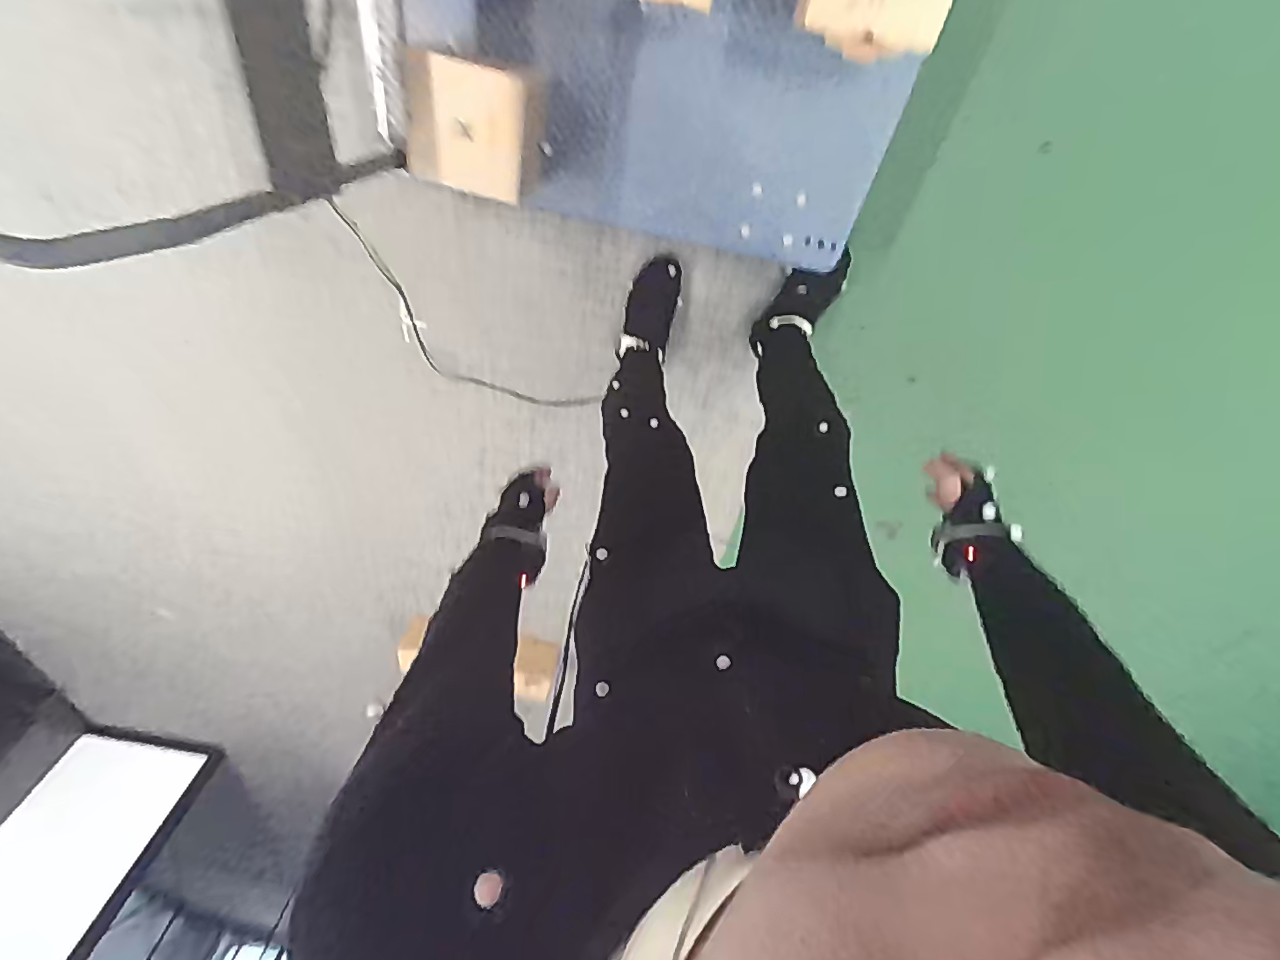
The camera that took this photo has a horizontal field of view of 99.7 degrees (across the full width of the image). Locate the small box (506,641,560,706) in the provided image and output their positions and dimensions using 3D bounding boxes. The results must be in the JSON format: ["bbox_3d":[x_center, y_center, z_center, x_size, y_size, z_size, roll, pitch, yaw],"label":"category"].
[{"bbox_3d":[-0.435,0.790,2.214,0.168,0.176,0.179,16,130,-4],"label":"small box"}]

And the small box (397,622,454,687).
[{"bbox_3d":[-0.863,0.703,2.186,0.168,0.176,0.179,14,128,-2],"label":"small box"}]

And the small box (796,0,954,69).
[{"bbox_3d":[0.312,-0.659,0.700,0.168,0.176,0.179,12,129,0],"label":"small box"}]

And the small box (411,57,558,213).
[{"bbox_3d":[-0.245,-0.555,0.869,0.179,0.176,0.168,14,129,-3],"label":"small box"}]
